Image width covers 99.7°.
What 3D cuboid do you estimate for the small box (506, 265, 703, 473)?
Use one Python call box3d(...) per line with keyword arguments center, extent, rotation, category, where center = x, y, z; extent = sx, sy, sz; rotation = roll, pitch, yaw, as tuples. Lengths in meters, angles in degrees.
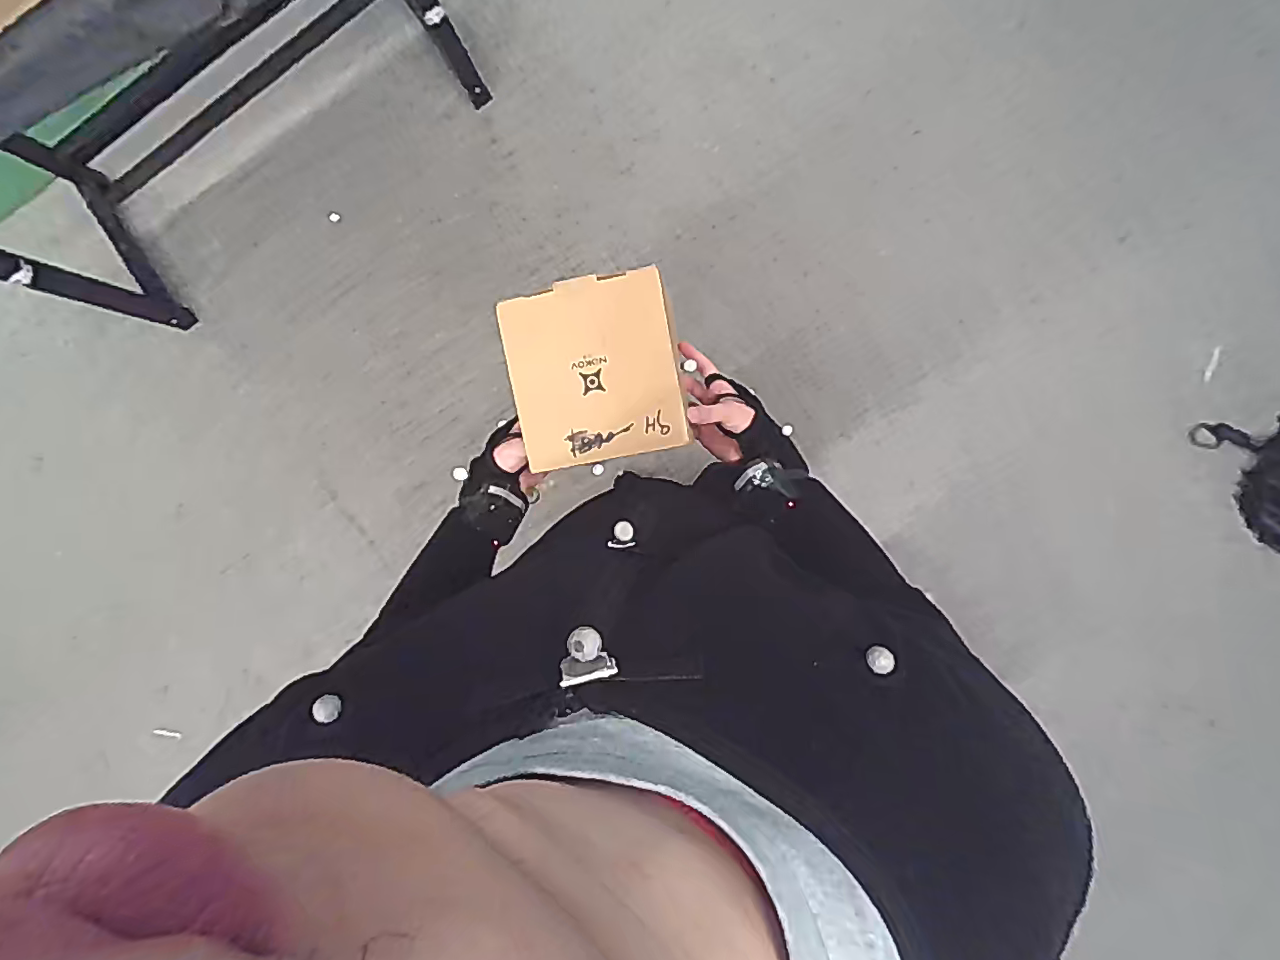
box3d(center=(-0.027, -0.111, 0.606), extent=(0.168, 0.176, 0.179), rotation=(-12, 93, 10), category="small box")
